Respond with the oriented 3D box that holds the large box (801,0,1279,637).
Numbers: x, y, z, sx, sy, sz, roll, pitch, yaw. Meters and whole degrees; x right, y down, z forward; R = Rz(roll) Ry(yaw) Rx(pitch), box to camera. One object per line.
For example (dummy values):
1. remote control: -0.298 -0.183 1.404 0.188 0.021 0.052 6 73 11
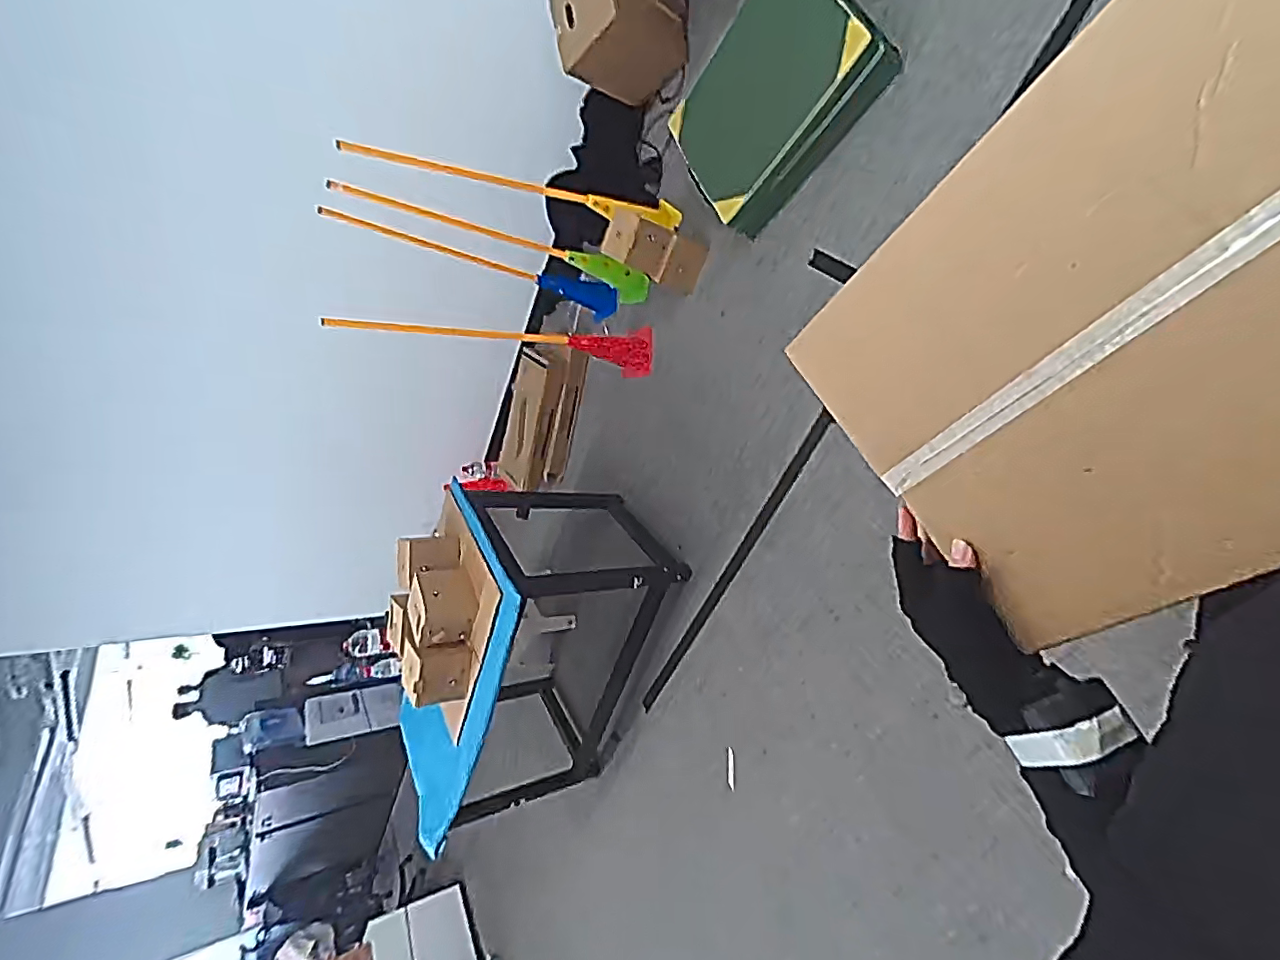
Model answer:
1. large box: 0.424 -0.134 0.432 0.320 0.320 0.408 59 135 19
